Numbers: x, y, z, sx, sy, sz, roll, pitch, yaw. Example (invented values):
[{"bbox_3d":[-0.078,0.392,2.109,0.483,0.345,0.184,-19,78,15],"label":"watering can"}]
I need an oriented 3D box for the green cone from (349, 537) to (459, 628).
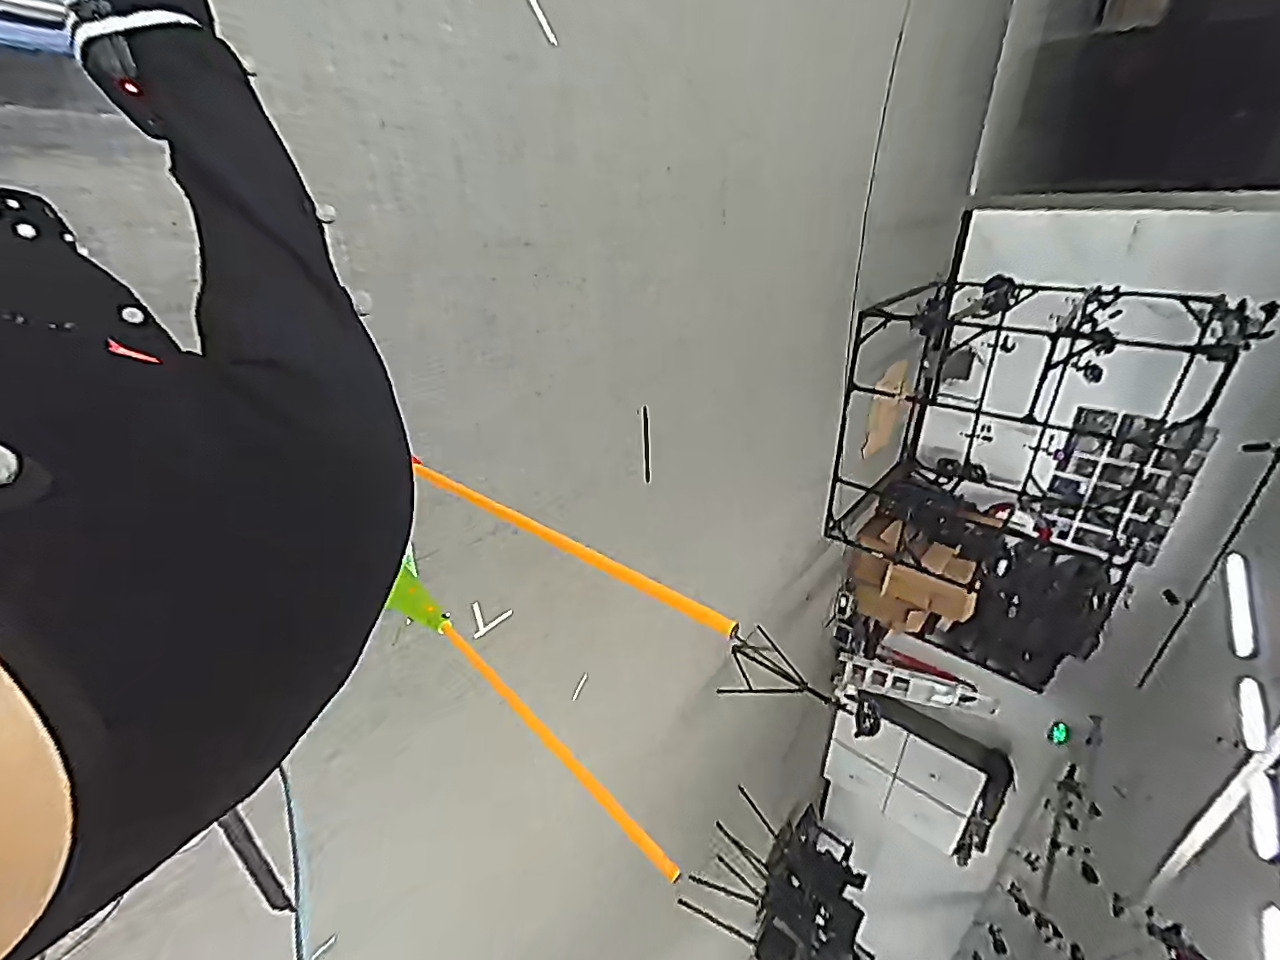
[{"bbox_3d":[-0.651,0.341,1.571,0.202,0.368,0.200,-26,126,-44],"label":"green cone"}]
